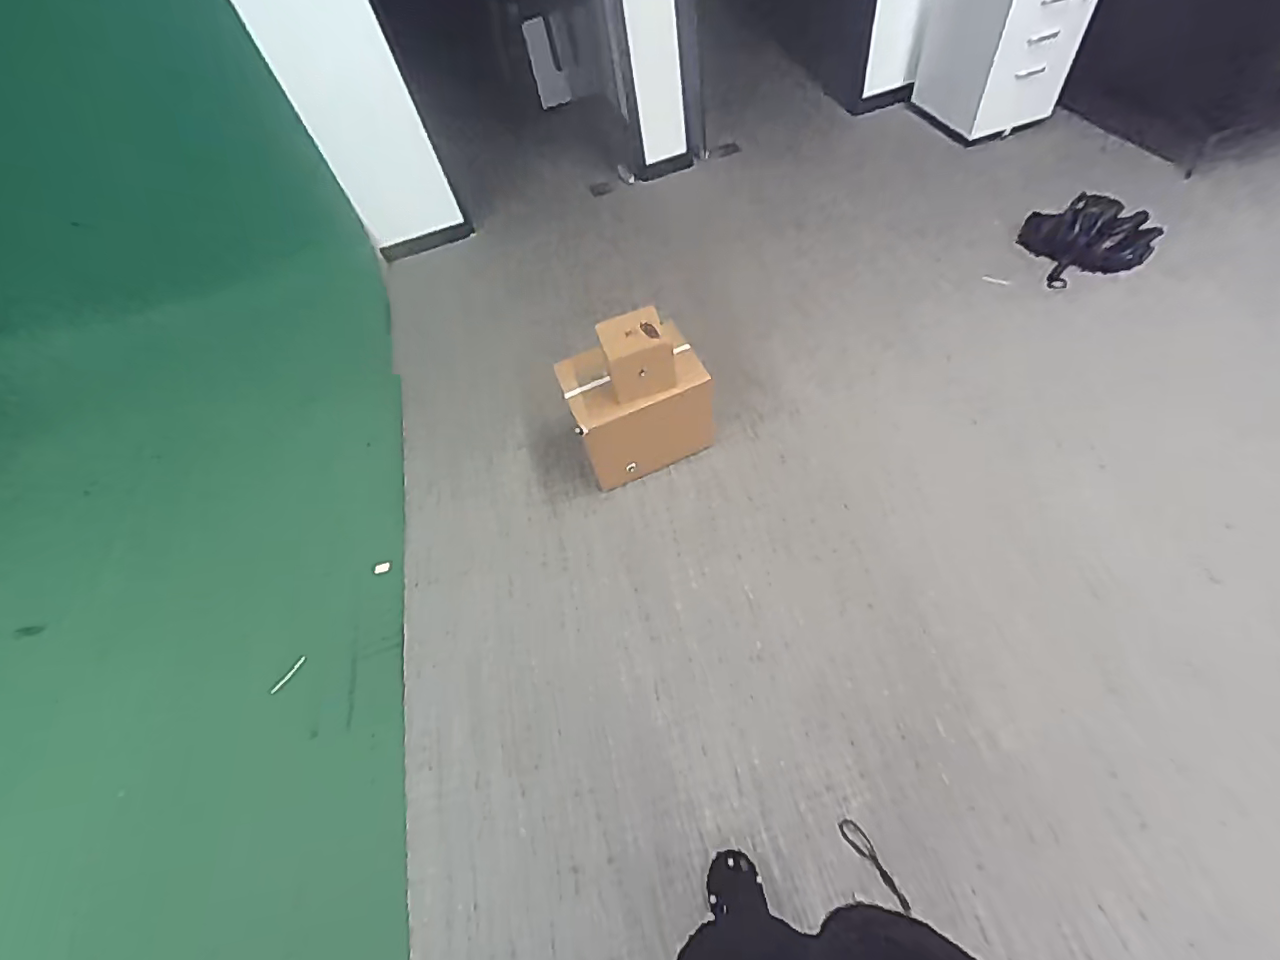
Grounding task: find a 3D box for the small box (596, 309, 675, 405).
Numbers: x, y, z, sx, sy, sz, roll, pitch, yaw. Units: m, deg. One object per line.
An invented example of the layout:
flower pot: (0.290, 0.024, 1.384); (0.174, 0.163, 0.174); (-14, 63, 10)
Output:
small box: (-0.007, -0.341, 1.512); (0.179, 0.176, 0.168); (-19, 54, -2)
